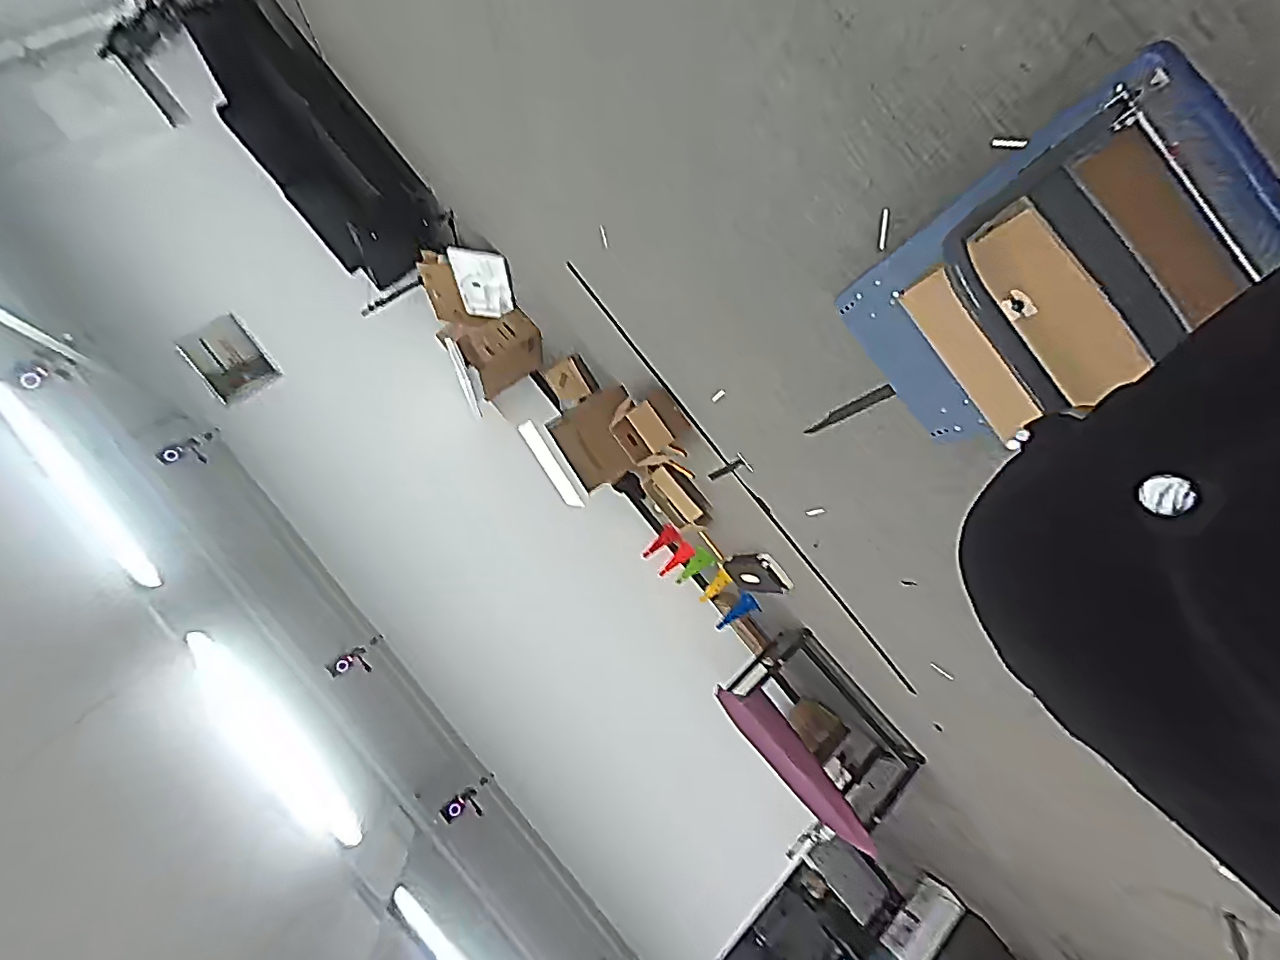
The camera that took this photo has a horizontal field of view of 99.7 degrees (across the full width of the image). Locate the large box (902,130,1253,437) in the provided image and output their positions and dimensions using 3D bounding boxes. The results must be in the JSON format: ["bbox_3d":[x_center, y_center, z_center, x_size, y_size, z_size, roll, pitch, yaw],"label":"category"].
[{"bbox_3d":[0.827,-0.356,1.054,0.408,0.320,0.320,53,161,-2],"label":"large box"}]
